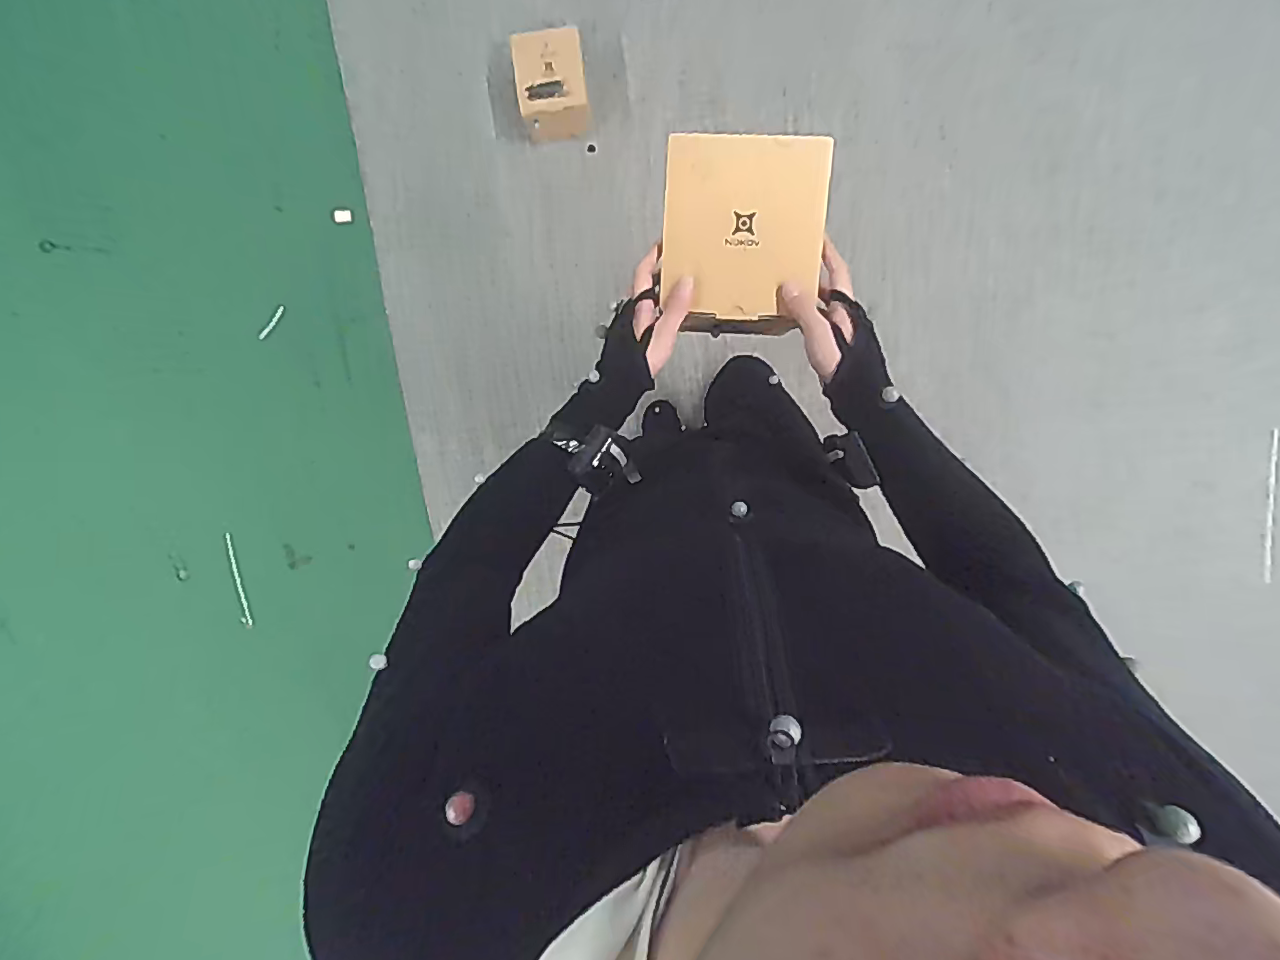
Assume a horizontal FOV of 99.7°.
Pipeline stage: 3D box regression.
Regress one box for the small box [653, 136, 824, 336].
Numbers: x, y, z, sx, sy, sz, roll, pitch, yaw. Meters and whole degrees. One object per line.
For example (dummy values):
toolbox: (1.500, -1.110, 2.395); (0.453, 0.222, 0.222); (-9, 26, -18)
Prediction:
small box: (0.103, -0.271, 0.636); (0.168, 0.176, 0.179); (3, 101, 3)
